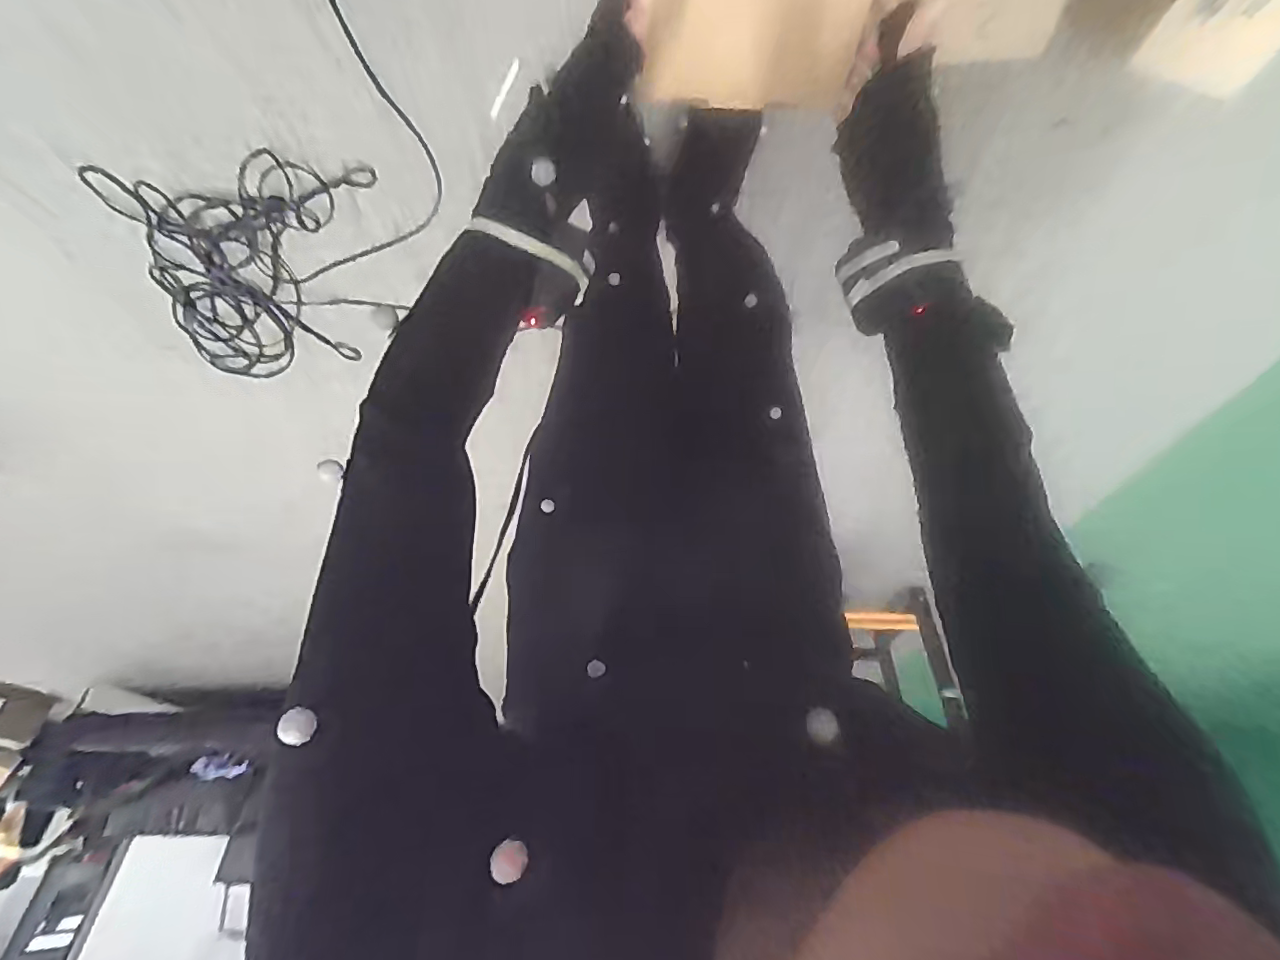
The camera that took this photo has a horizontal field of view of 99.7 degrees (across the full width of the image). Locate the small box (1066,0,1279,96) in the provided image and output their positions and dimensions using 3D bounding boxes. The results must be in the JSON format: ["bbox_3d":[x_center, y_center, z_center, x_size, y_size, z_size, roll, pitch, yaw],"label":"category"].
[{"bbox_3d":[0.688,-0.616,0.665,0.179,0.176,0.168,7,144,-10],"label":"small box"}]

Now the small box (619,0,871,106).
[{"bbox_3d":[0.072,-0.405,0.393,0.168,0.176,0.179,-1,142,-5],"label":"small box"}]
